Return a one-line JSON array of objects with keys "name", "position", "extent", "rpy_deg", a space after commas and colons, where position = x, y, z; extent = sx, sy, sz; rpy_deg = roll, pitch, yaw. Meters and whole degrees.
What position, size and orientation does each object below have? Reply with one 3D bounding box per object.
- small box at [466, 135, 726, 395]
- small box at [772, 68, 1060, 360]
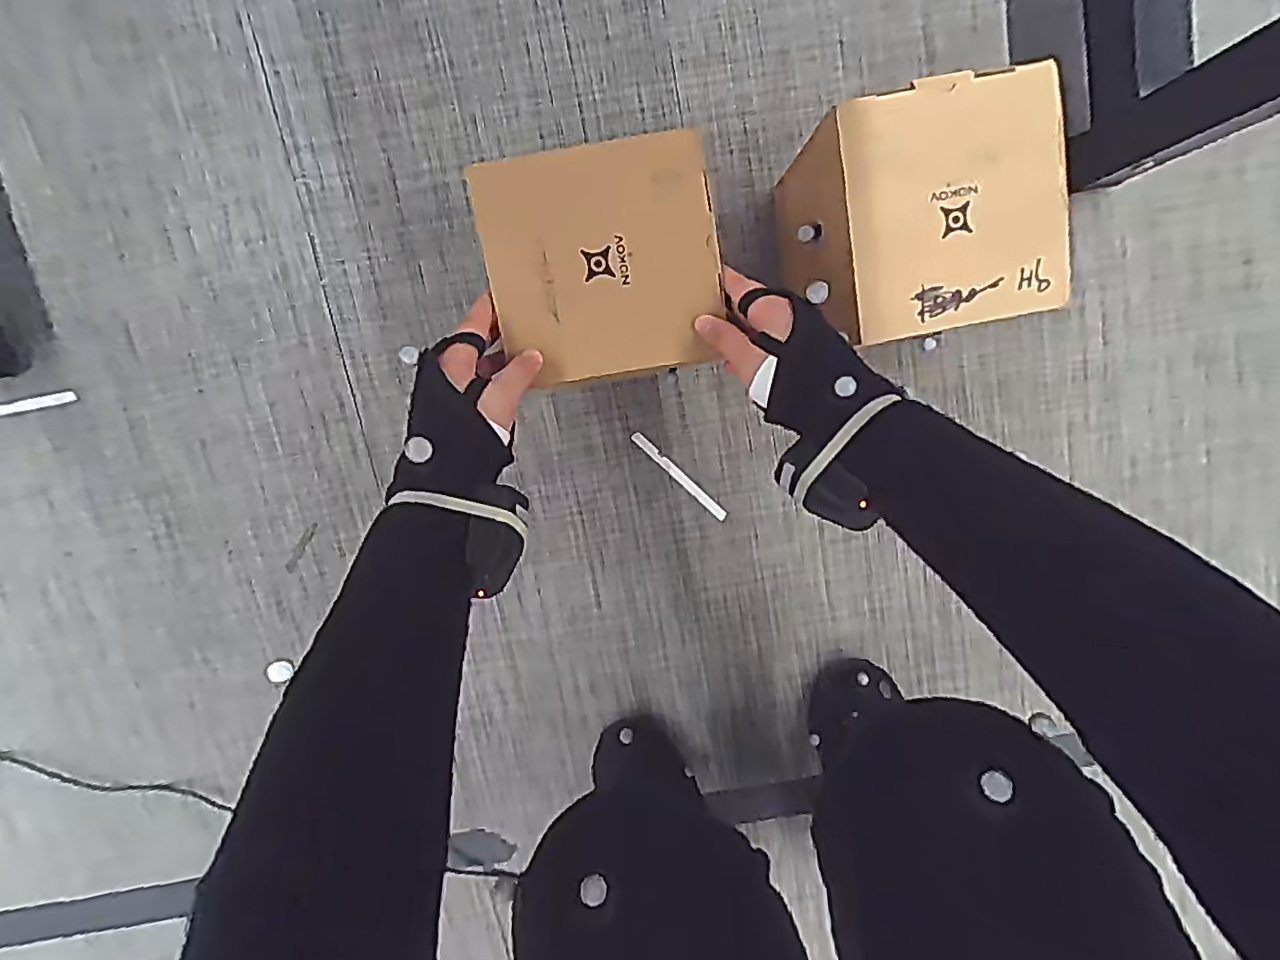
[{"name": "small box", "position": [-0.032, -0.173, 0.488], "extent": [0.179, 0.176, 0.168], "rpy_deg": [-10, 98, 1]}, {"name": "small box", "position": [0.227, -0.214, 0.485], "extent": [0.168, 0.176, 0.179], "rpy_deg": [-11, 98, 1]}]
